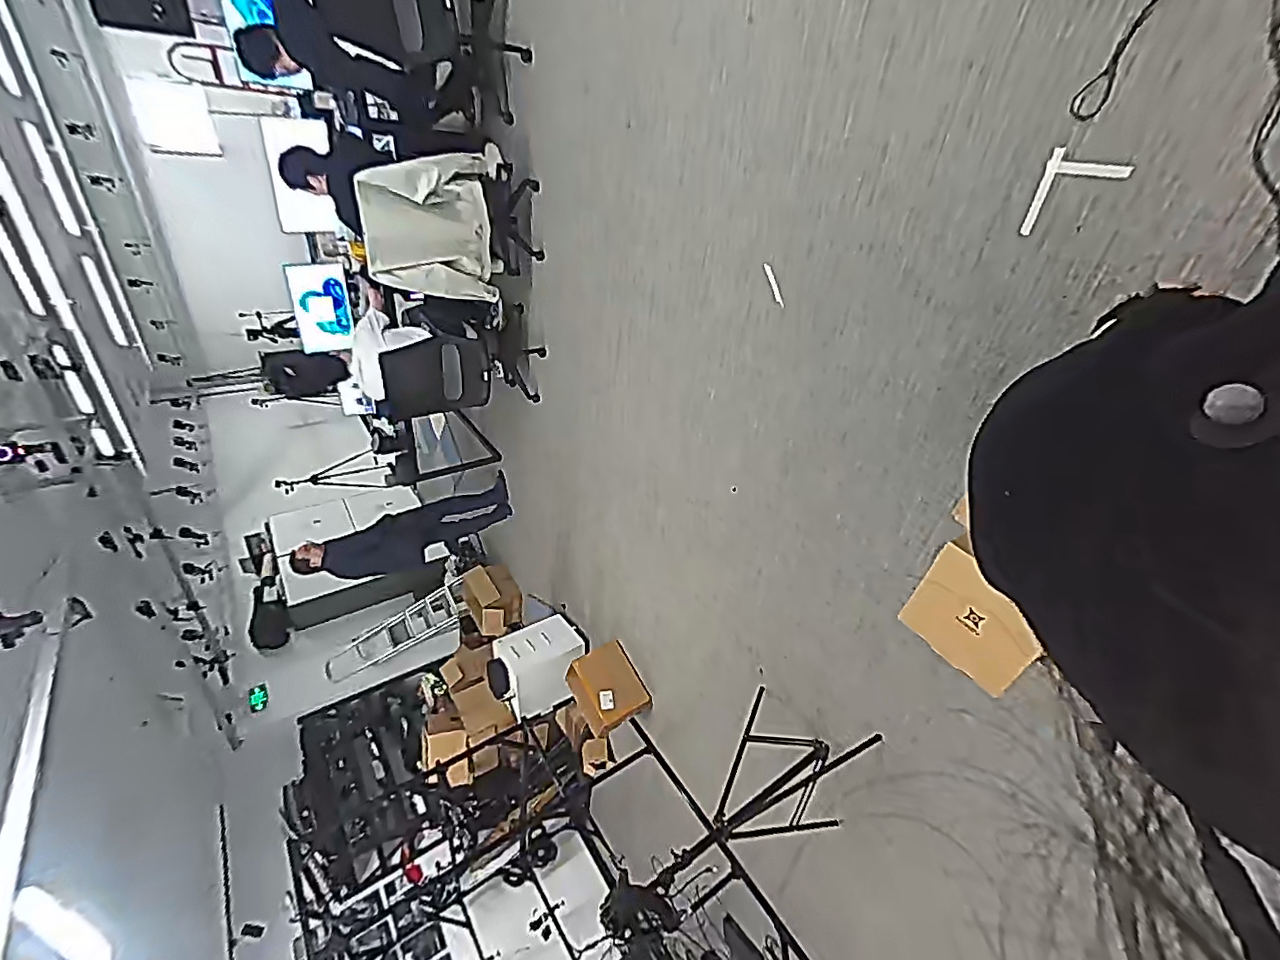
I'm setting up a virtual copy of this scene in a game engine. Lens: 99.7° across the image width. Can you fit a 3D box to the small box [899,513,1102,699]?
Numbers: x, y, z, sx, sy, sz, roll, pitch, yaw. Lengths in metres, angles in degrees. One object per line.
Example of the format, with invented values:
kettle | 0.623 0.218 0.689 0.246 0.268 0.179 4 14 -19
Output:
small box | 0.529 0.175 0.796 0.168 0.176 0.179 44 139 38
